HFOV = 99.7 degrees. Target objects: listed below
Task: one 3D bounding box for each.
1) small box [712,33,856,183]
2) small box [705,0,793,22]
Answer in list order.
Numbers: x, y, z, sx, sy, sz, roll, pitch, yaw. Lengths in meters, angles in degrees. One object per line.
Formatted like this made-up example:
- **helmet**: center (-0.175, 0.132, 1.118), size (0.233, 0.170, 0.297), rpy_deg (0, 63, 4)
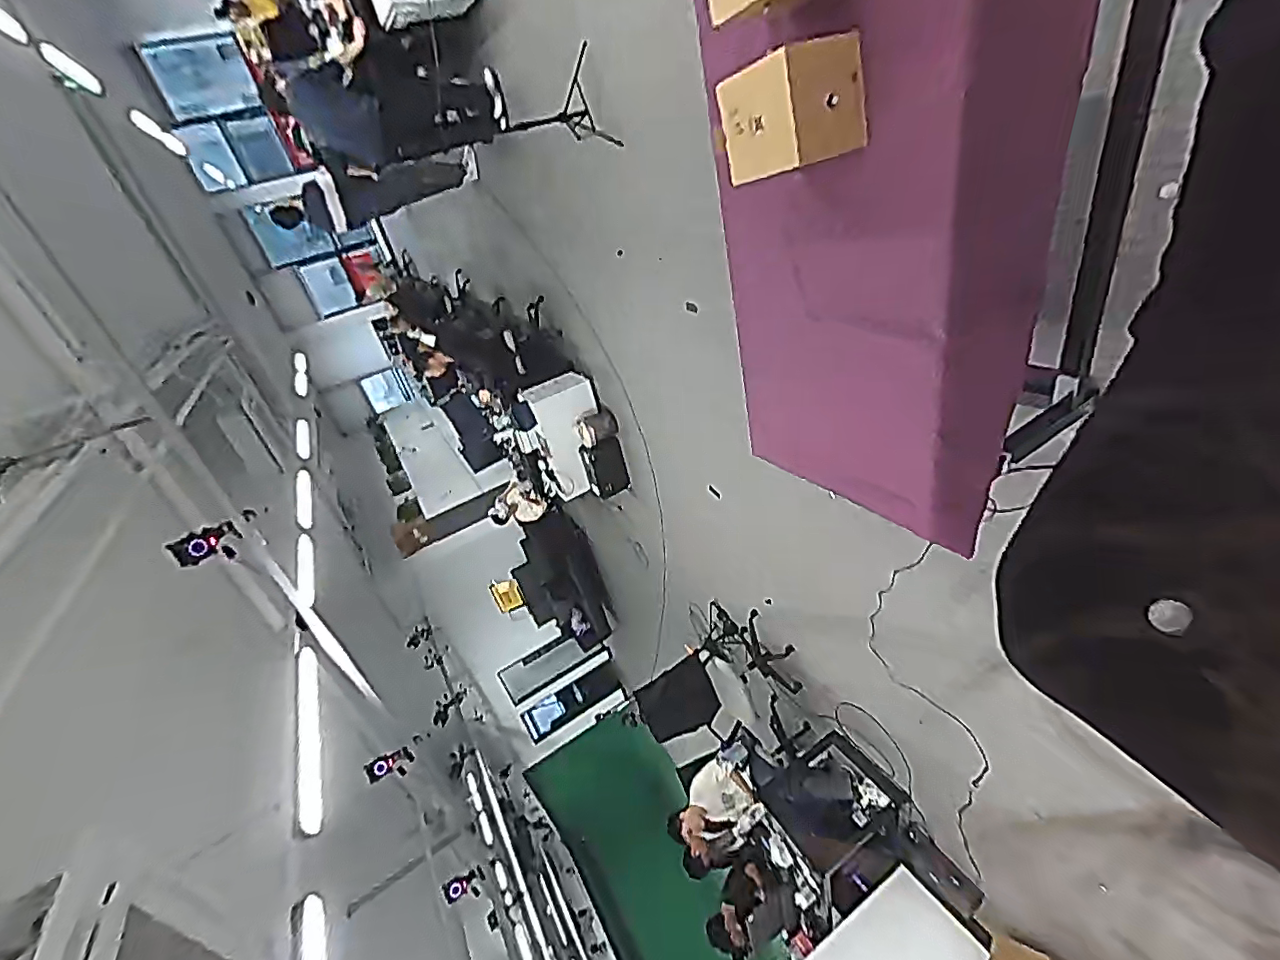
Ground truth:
- **small box**: center (0.259, -0.648, 0.951), size (0.179, 0.176, 0.168), rpy_deg (30, 143, 57)
- **small box**: center (0.203, -0.846, 0.829), size (0.179, 0.176, 0.168), rpy_deg (33, 147, 55)
